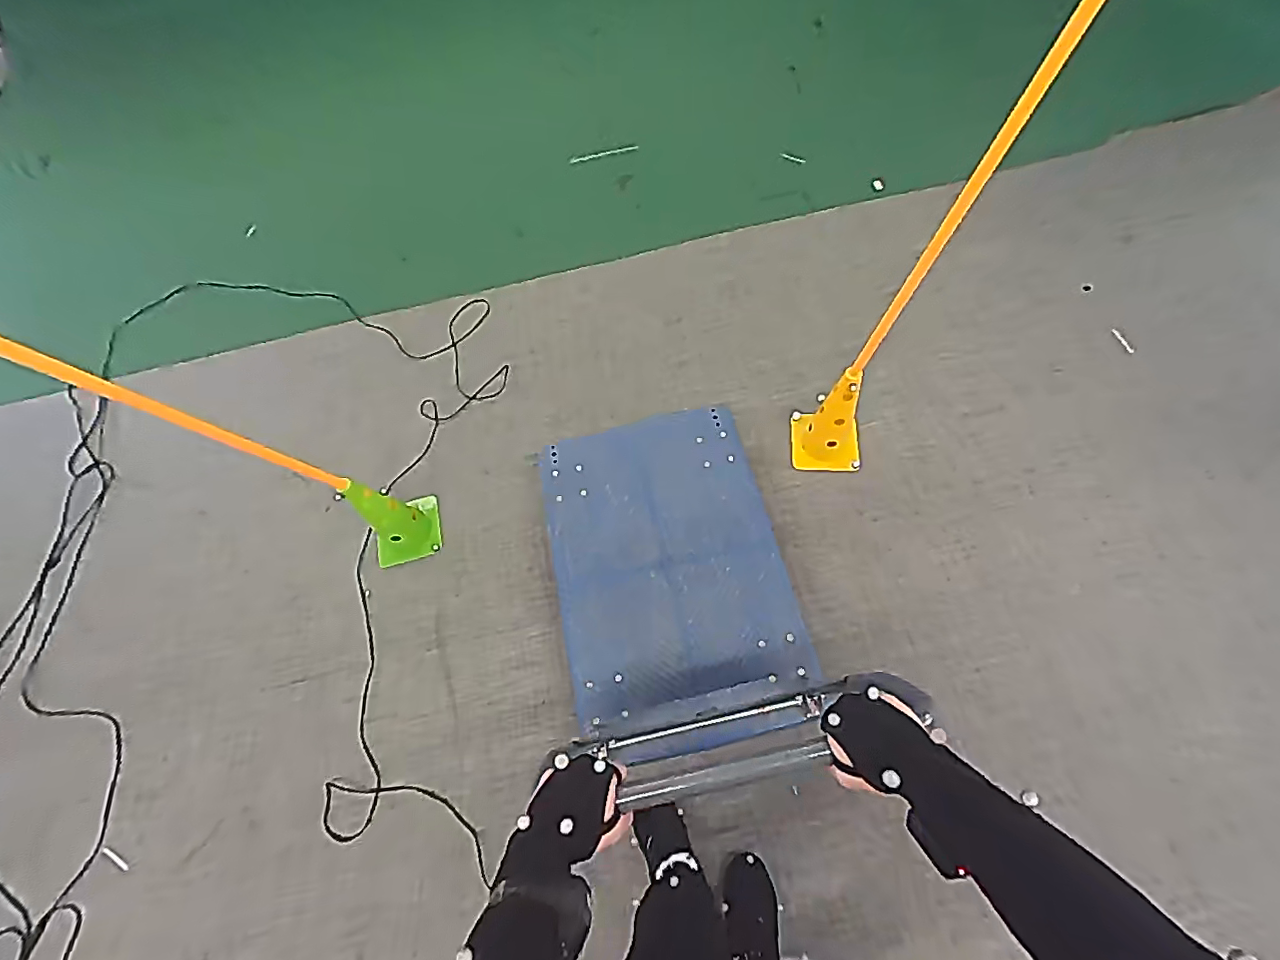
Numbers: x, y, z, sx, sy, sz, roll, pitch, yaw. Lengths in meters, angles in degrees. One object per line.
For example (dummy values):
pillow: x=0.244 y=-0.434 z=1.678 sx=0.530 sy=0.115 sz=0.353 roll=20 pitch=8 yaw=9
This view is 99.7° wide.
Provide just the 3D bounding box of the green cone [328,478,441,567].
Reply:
green cone: x=-0.746 y=0.084 z=1.530 sx=0.202 sy=0.368 sz=0.200 roll=-17 pitch=64 yaw=0
